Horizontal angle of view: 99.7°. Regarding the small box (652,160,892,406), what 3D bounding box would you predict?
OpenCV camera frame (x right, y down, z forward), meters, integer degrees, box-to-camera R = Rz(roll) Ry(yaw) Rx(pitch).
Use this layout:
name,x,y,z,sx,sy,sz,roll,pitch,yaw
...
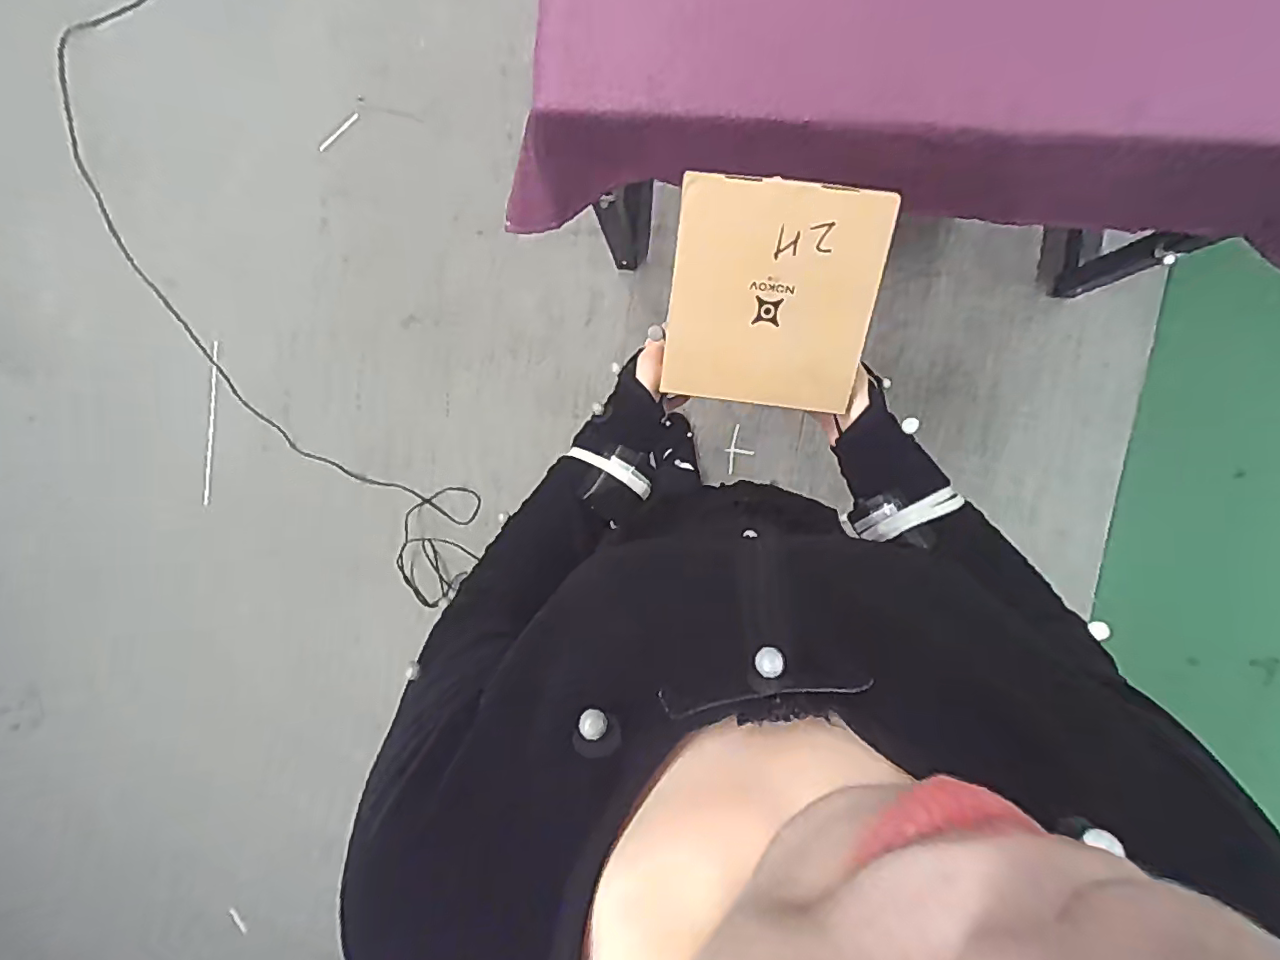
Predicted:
name,x,y,z,sx,sy,sz,roll,pitch,yaw
small box,0.109,-0.184,0.515,0.168,0.176,0.179,8,112,2
